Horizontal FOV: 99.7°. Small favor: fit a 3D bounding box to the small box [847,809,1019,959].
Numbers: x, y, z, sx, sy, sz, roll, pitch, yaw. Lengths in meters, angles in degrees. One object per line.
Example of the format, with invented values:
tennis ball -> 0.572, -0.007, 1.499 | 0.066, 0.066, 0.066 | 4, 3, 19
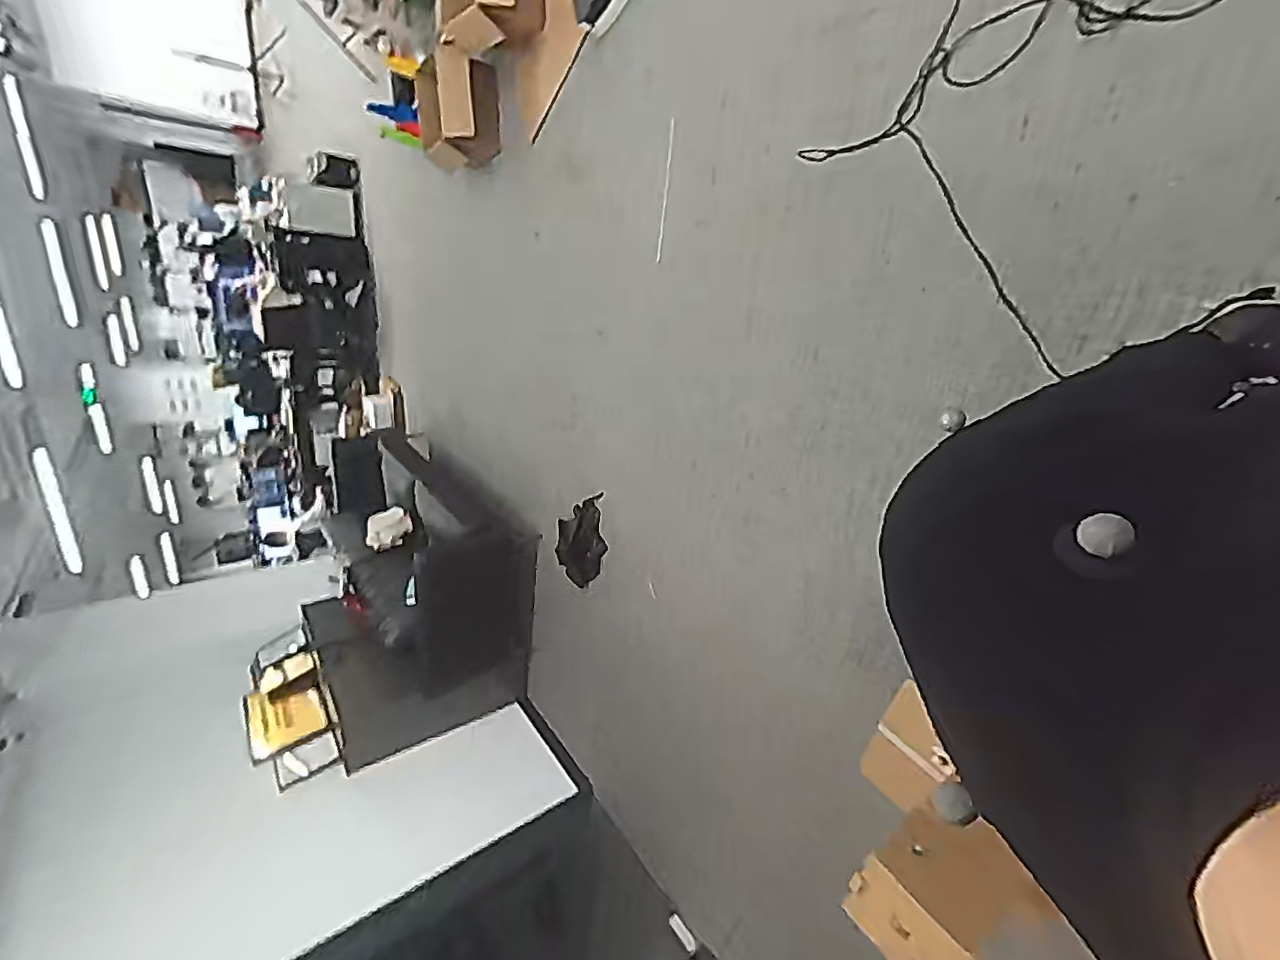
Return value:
small box -> 0.498, 0.706, 0.927 | 0.179, 0.176, 0.168 | 36, 127, 44
